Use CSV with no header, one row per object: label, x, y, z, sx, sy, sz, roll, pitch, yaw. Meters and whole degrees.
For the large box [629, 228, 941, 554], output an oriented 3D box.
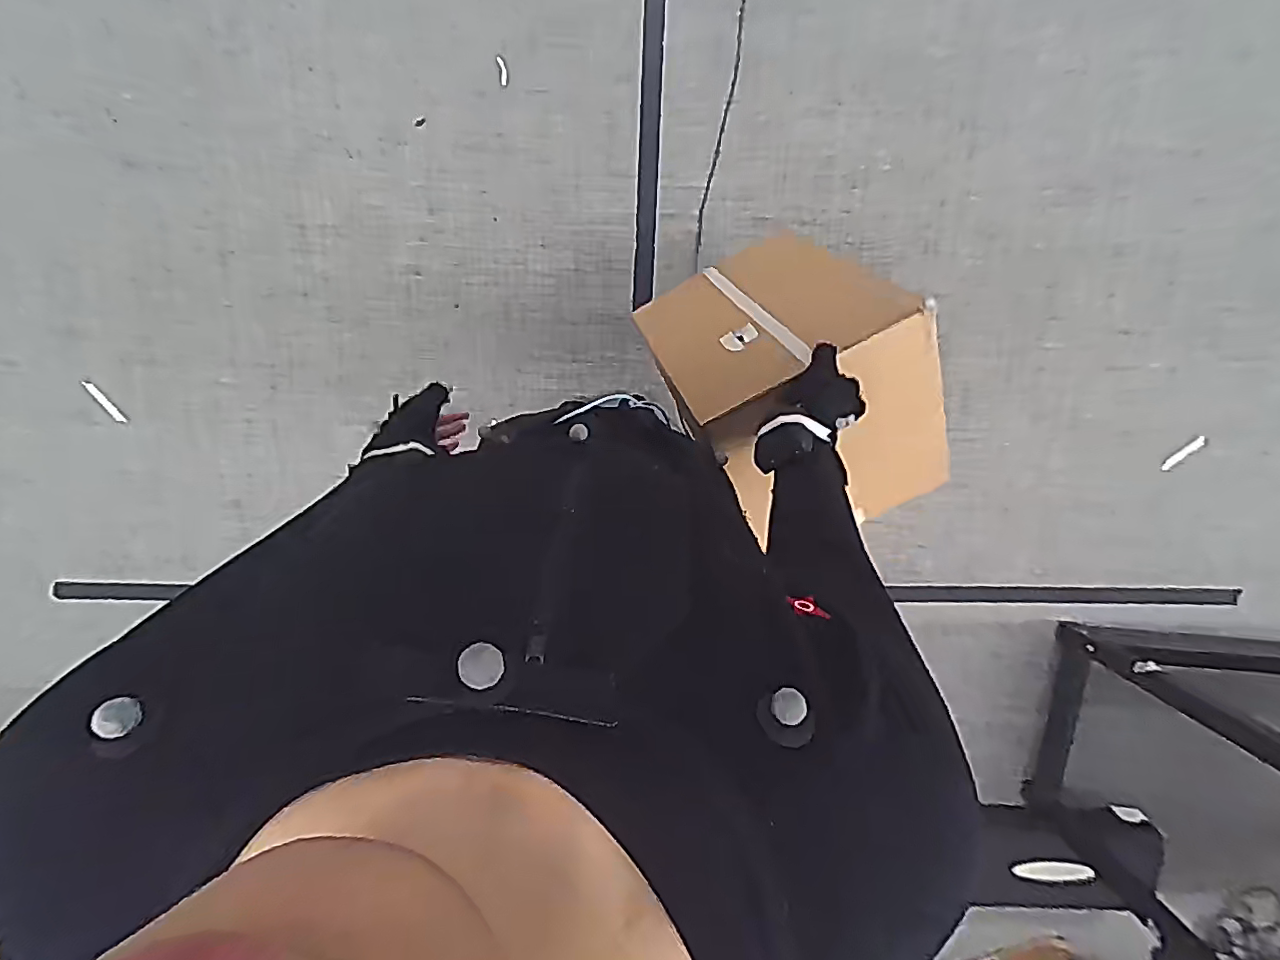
large box,0.226,-0.160,0.906,0.320,0.408,0.320,-31,130,6
